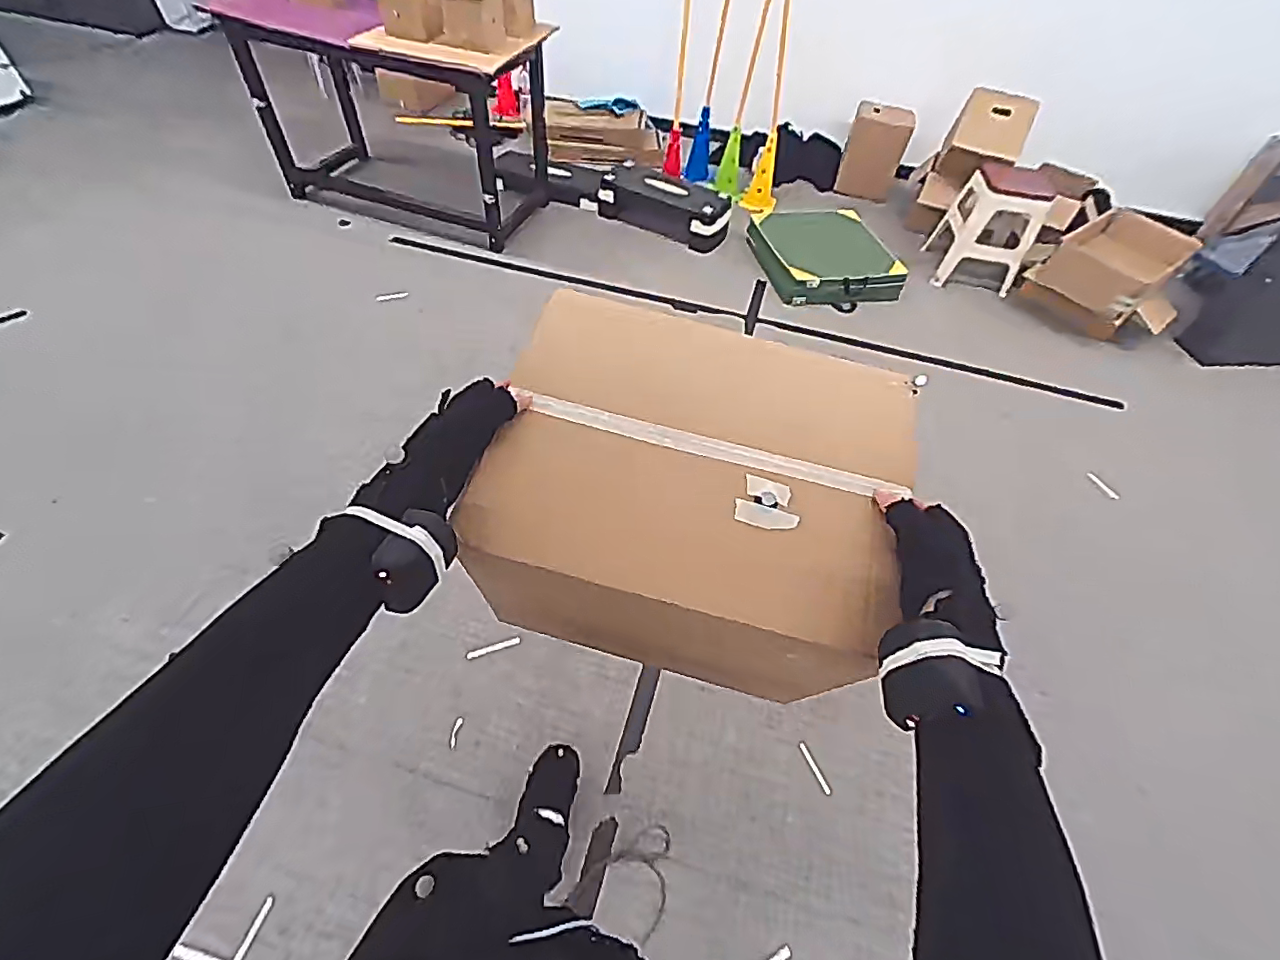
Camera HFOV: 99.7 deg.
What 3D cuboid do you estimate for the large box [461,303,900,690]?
[{"bbox_3d":[0.050,0.040,0.677,0.408,0.320,0.320,15,63,3],"label":"large box"}]
